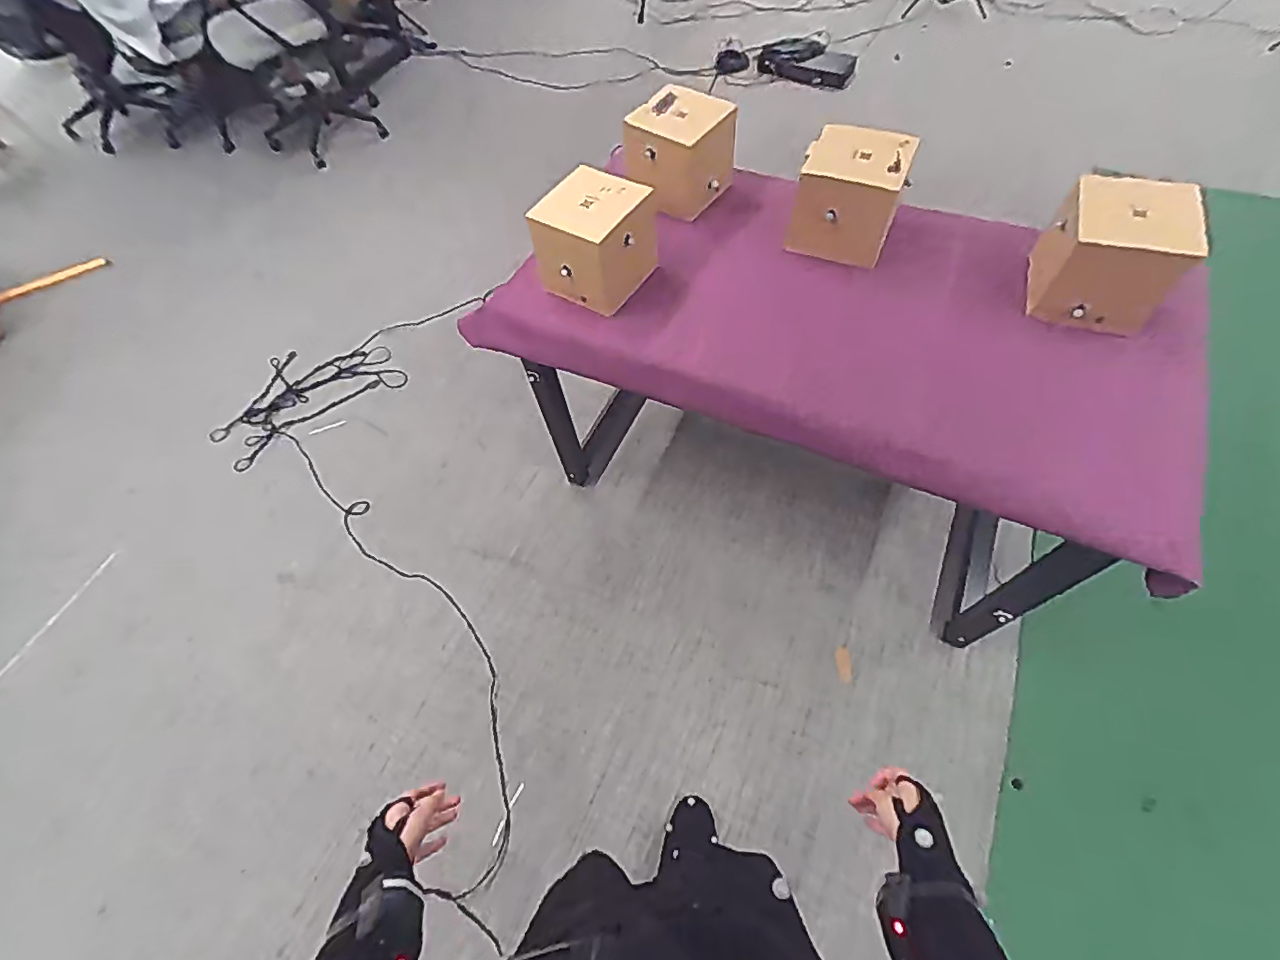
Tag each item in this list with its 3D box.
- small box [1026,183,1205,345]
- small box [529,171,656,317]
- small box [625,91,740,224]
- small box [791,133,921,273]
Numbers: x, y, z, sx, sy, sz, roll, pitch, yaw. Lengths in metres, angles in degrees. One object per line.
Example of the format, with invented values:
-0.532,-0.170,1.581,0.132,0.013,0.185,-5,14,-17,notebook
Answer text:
0.783,-0.360,0.910,0.168,0.176,0.179,16,64,16,small box
-0.078,-0.444,1.030,0.168,0.176,0.179,29,66,19,small box
0.090,-0.685,1.157,0.179,0.176,0.168,34,69,20,small box
0.406,-0.528,1.041,0.179,0.176,0.168,21,65,17,small box
